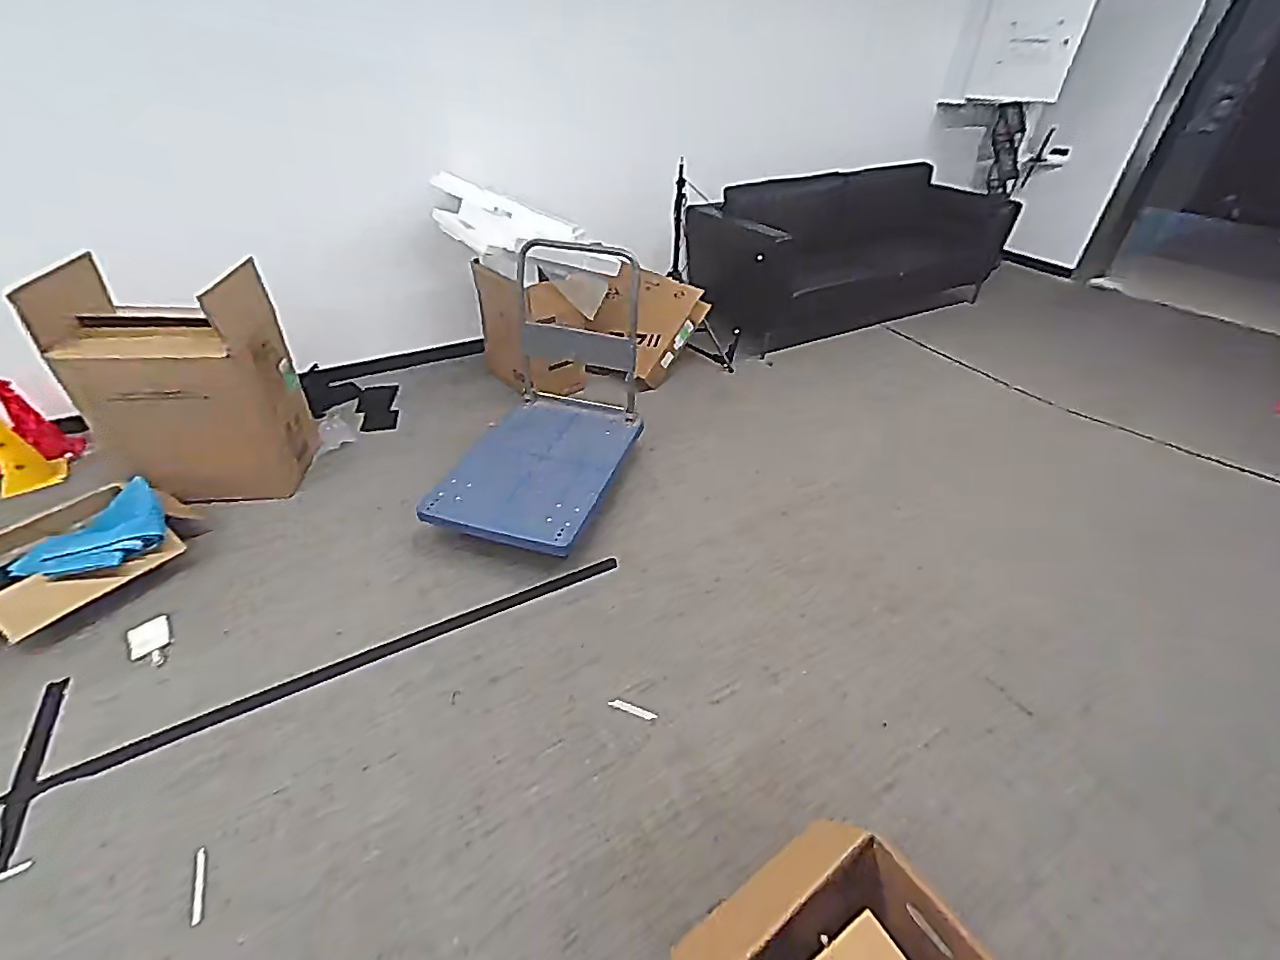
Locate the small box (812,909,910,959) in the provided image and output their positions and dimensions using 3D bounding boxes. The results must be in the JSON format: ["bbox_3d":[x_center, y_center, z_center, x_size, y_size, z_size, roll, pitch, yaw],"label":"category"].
[{"bbox_3d":[0.340,0.823,0.835,0.179,0.176,0.168,-20,42,-24],"label":"small box"}]
